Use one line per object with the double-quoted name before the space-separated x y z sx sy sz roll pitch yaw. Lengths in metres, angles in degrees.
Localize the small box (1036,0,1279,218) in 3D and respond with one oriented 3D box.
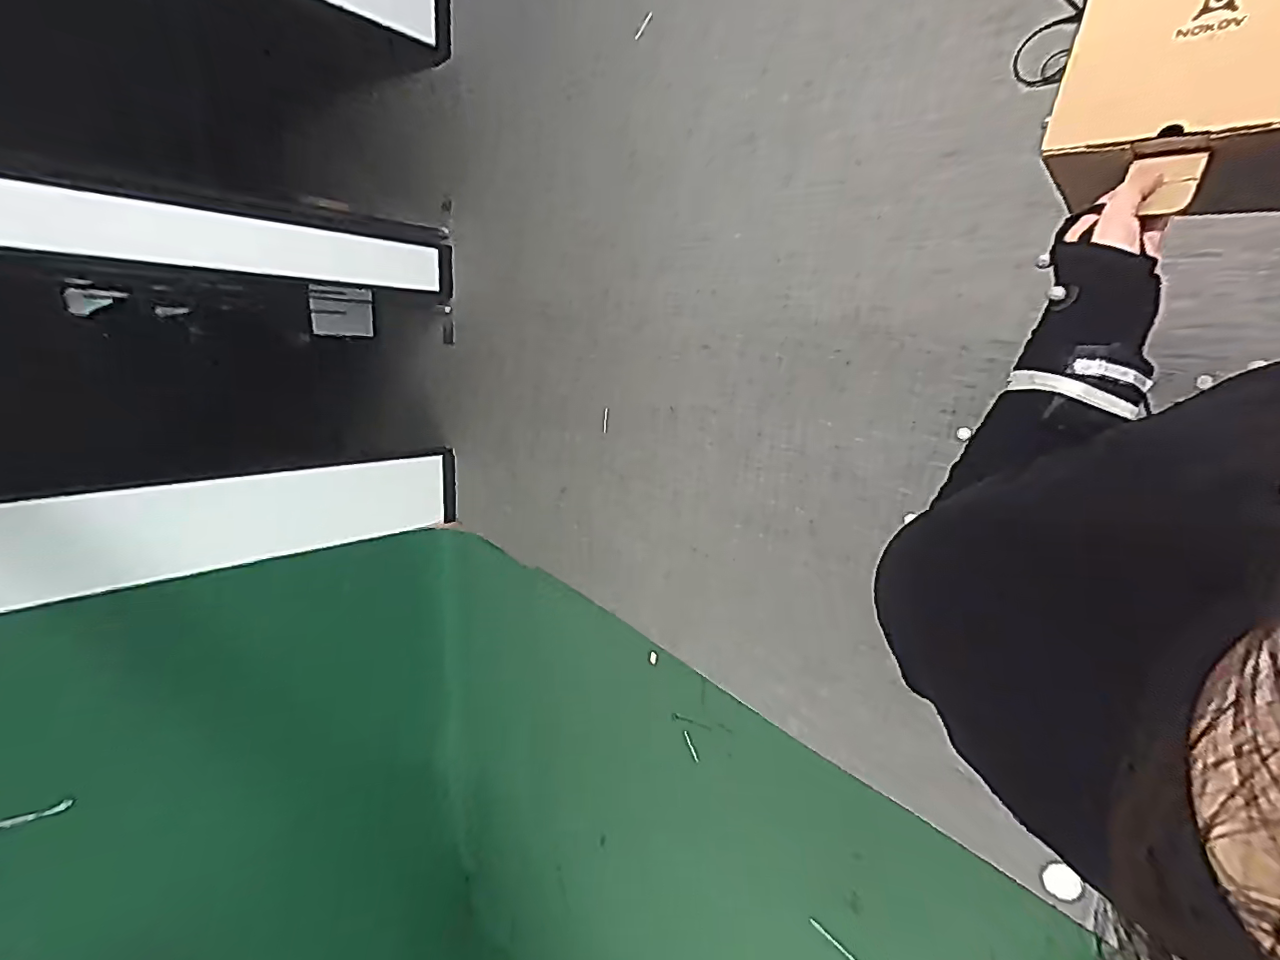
"small box" 0.470 -0.342 0.453 0.168 0.176 0.179 22 107 44
